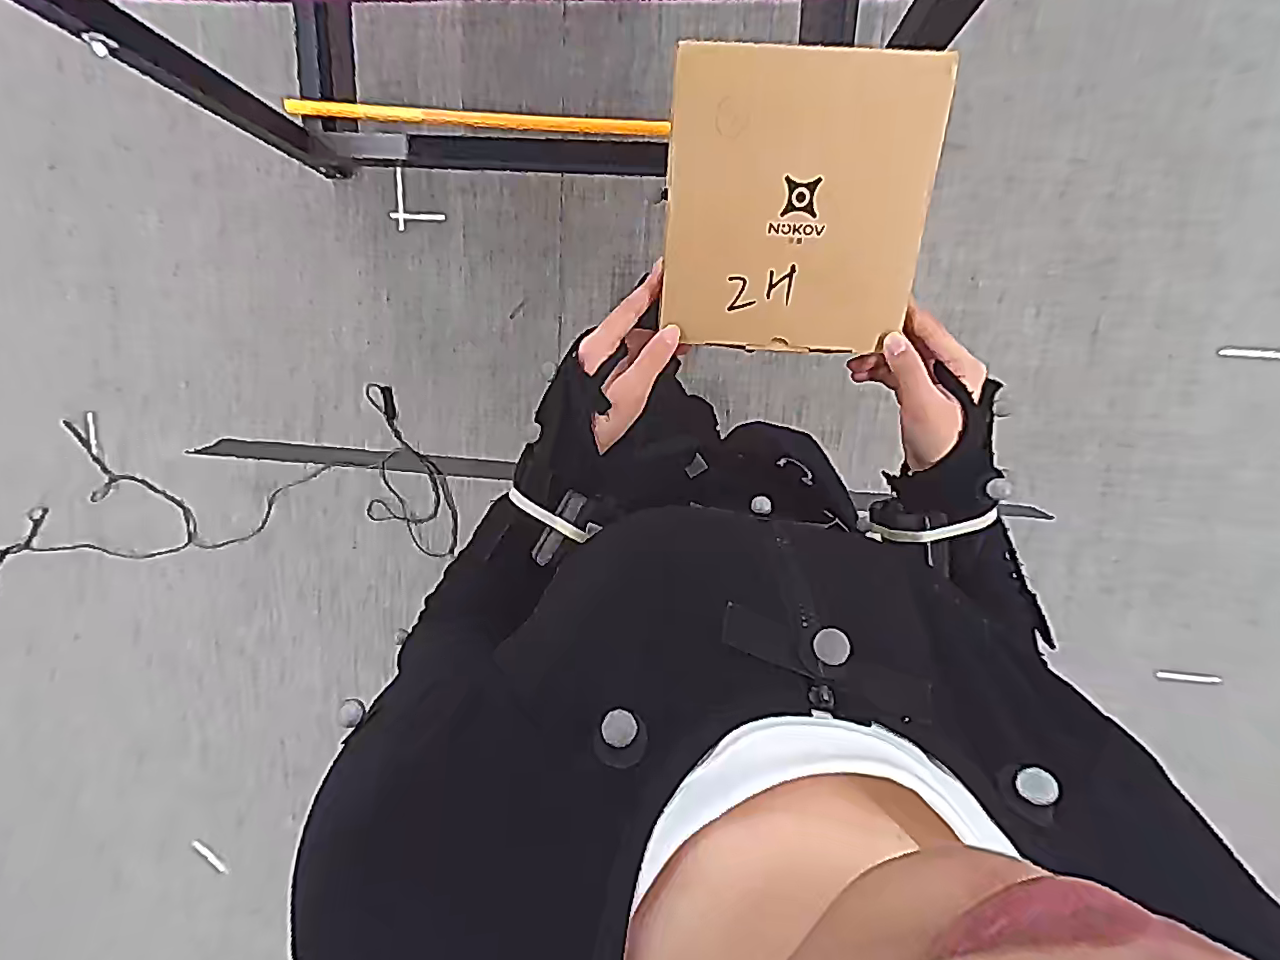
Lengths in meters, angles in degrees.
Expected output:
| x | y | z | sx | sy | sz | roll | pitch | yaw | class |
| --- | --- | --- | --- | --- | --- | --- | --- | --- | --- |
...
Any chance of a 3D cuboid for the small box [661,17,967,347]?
| x | y | z | sx | sy | sz | roll | pitch | yaw | class |
| --- | --- | --- | --- | --- | --- | --- | --- | --- | --- |
| 0.104 | -0.204 | 0.412 | 0.168 | 0.176 | 0.179 | 4 | 111 | 1 | small box |
